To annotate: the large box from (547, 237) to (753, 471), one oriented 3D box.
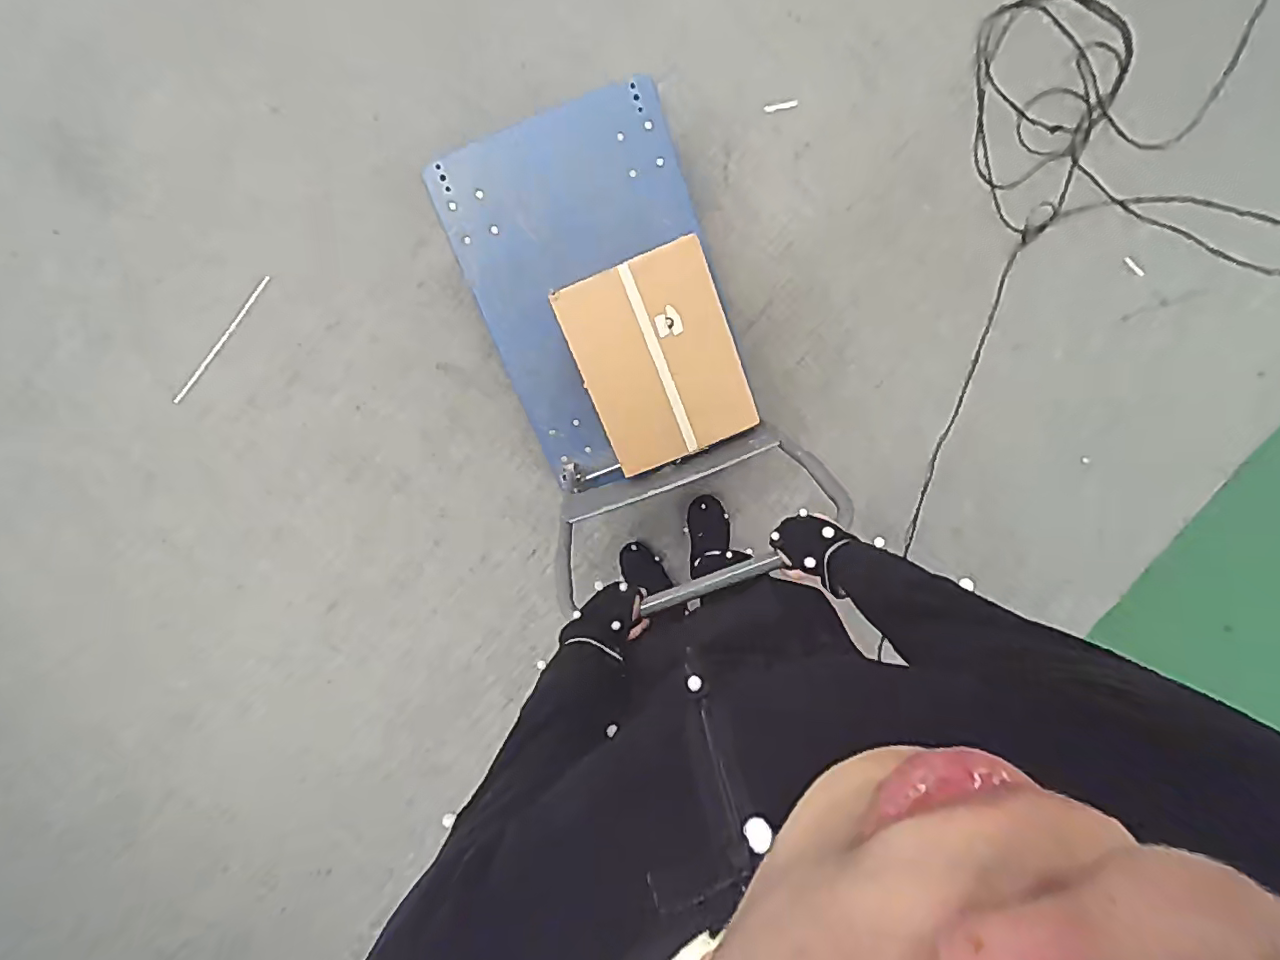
[{"bbox_3d":[0.023,-0.288,1.263,0.320,0.320,0.408,-22,106,2],"label":"large box"}]
